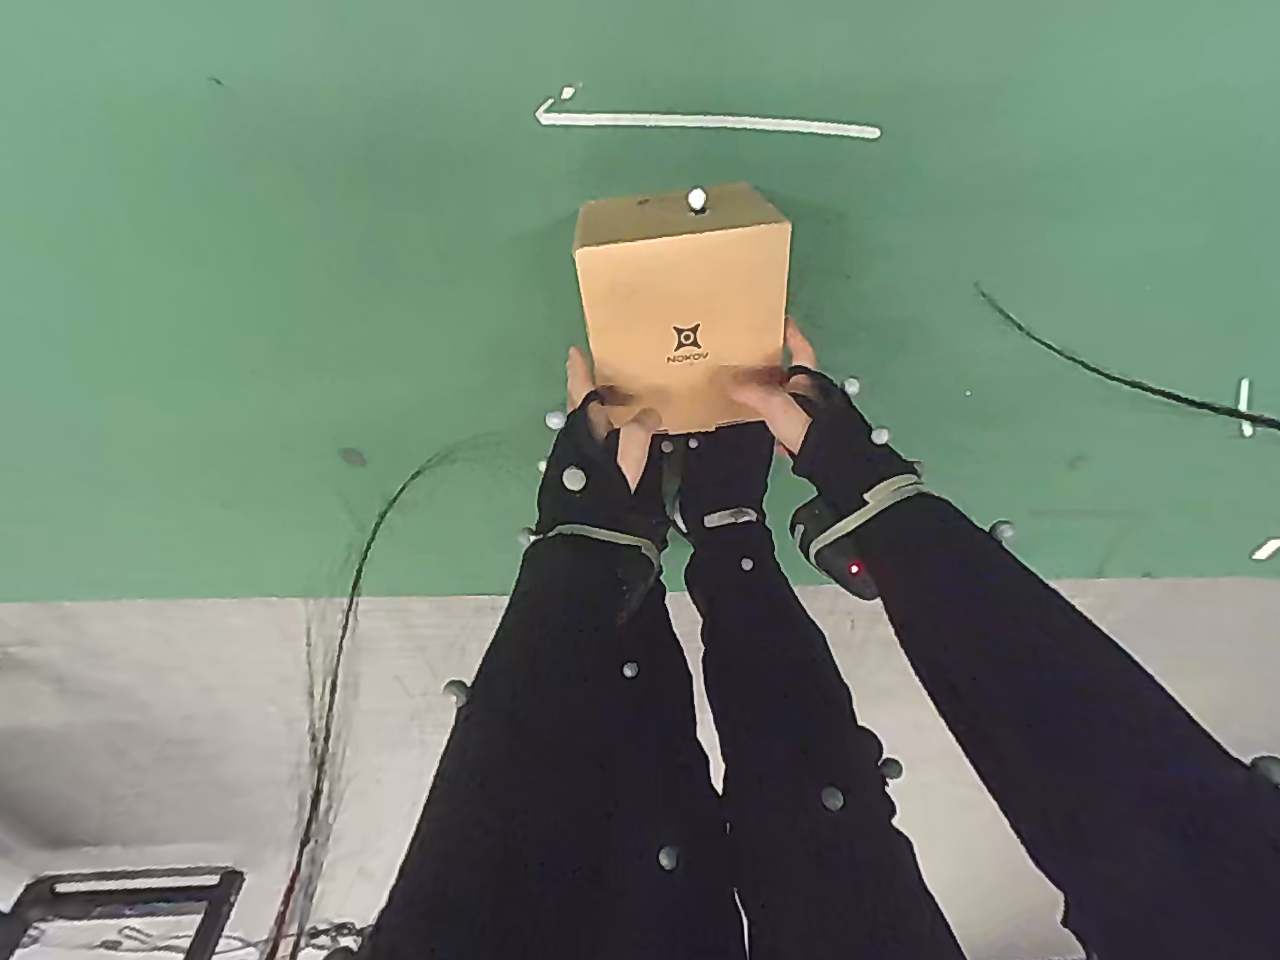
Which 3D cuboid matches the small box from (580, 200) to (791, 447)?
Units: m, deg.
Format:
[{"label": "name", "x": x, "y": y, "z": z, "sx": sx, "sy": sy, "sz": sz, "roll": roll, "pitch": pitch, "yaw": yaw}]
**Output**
[{"label": "small box", "x": 0.036, "y": -0.157, "z": 0.520, "sx": 0.168, "sy": 0.176, "sz": 0.179, "roll": -6, "pitch": 129, "yaw": 1}]
